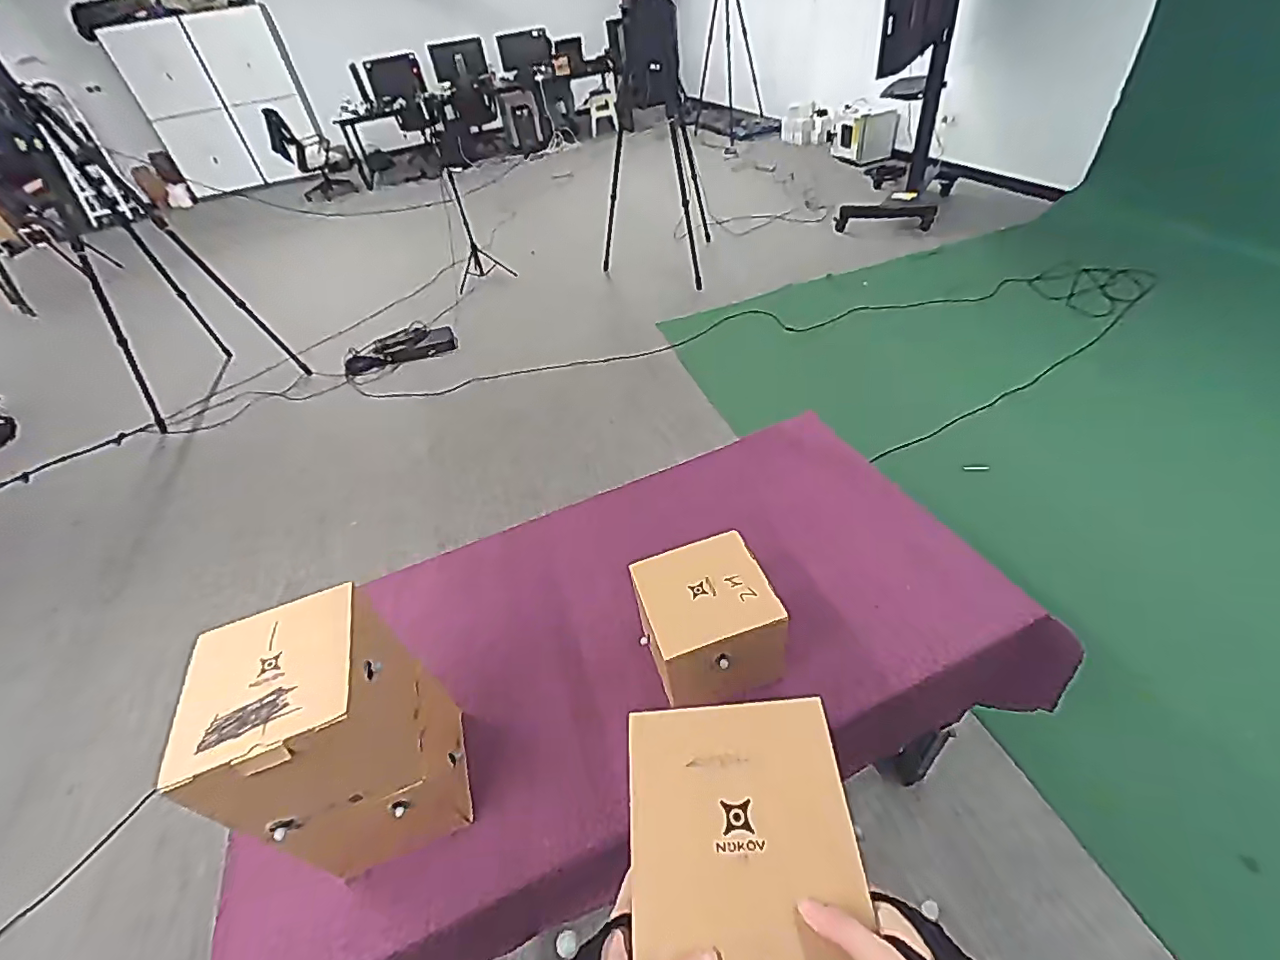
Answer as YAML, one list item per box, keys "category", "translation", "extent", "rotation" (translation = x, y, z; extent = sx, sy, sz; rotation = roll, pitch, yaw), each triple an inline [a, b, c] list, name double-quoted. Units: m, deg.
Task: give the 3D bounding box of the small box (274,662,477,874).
- category: "small box"
  translation: [-0.337, 0.383, 0.717]
  extent: [0.179, 0.176, 0.168]
  rotation: [-20, 43, -10]

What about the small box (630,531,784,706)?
- category: "small box"
  translation: [0.100, 0.210, 0.803]
  extent: [0.179, 0.176, 0.168]
  rotation: [-17, 43, -6]

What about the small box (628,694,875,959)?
- category: "small box"
  translation: [0.085, 0.308, 0.468]
  extent: [0.168, 0.176, 0.179]
  rotation: [-7, 47, 6]

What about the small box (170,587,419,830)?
- category: "small box"
  translation: [-0.364, 0.261, 0.610]
  extent: [0.168, 0.176, 0.179]
  rotation: [-20, 42, -11]
